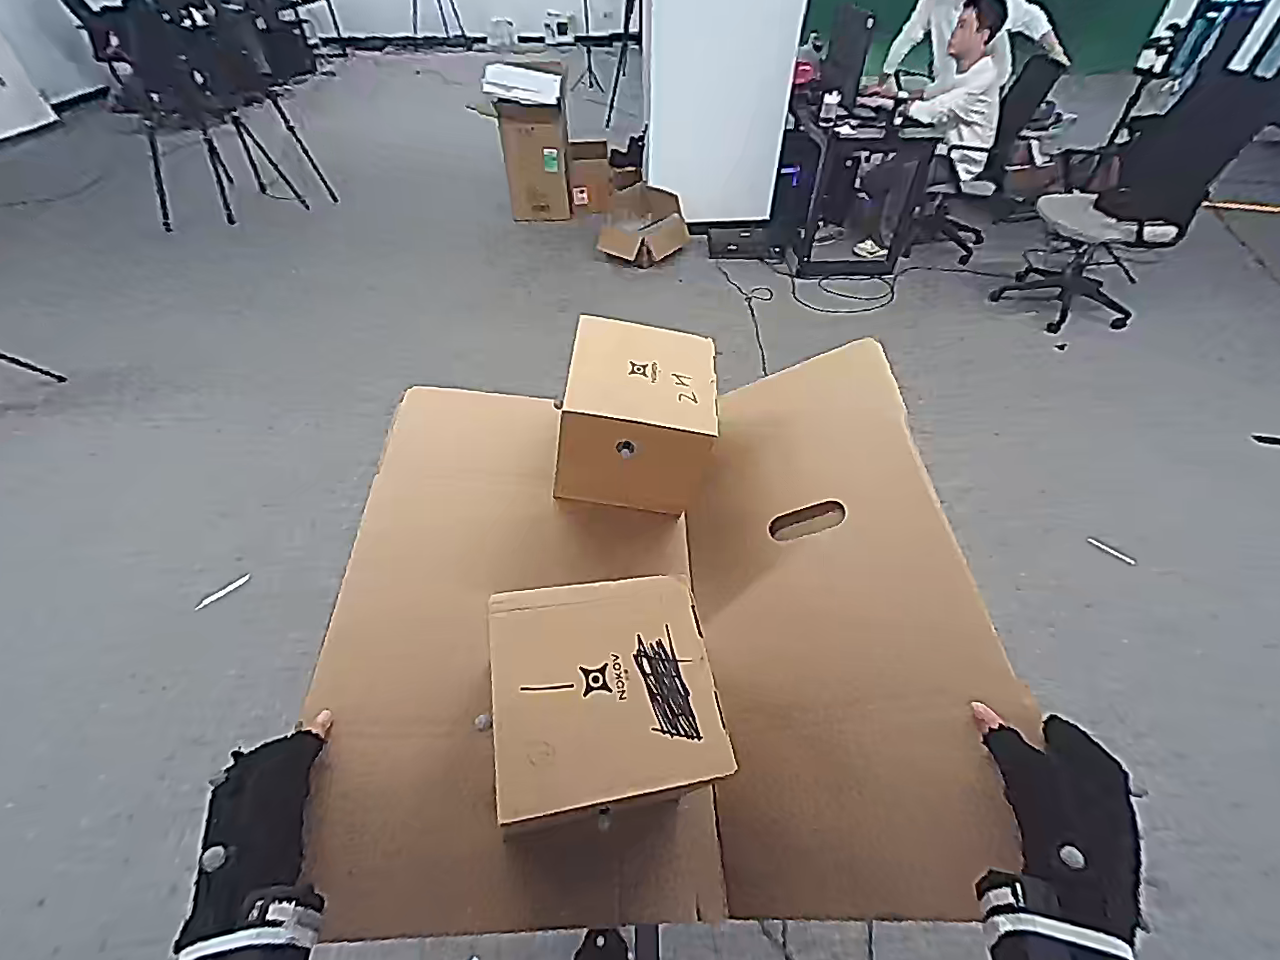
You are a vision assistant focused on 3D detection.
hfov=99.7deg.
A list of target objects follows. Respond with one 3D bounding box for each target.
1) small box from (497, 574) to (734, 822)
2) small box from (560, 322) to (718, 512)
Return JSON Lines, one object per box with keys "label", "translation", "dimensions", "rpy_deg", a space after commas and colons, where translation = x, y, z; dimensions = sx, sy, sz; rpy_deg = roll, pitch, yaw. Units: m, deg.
{"label": "small box", "translation": [-0.039, 0.203, 0.501], "dimensions": [0.179, 0.176, 0.168], "rpy_deg": [-3, 55, -15]}
{"label": "small box", "translation": [-0.005, -0.076, 0.710], "dimensions": [0.179, 0.176, 0.168], "rpy_deg": [10, 54, -6]}
